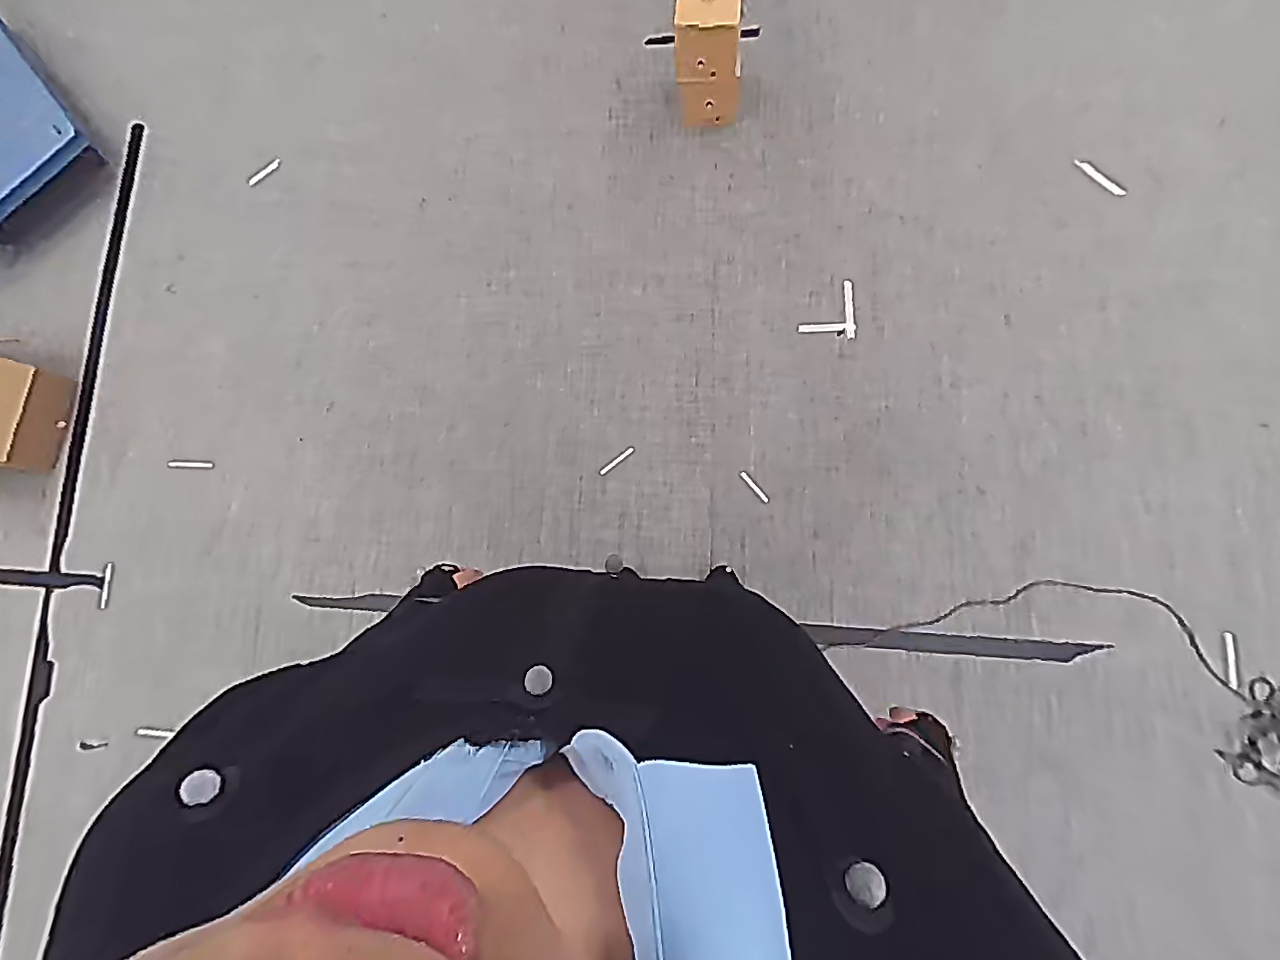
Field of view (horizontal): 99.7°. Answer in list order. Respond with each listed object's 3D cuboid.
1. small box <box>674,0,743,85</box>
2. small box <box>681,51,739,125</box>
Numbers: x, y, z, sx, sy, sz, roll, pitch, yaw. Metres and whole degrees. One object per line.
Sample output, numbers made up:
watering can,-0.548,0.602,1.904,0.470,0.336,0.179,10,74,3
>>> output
small box,0.185,-1.217,1.458,0.168,0.176,0.179,6,83,7
small box,0.209,-1.197,1.618,0.168,0.176,0.179,-1,81,6
